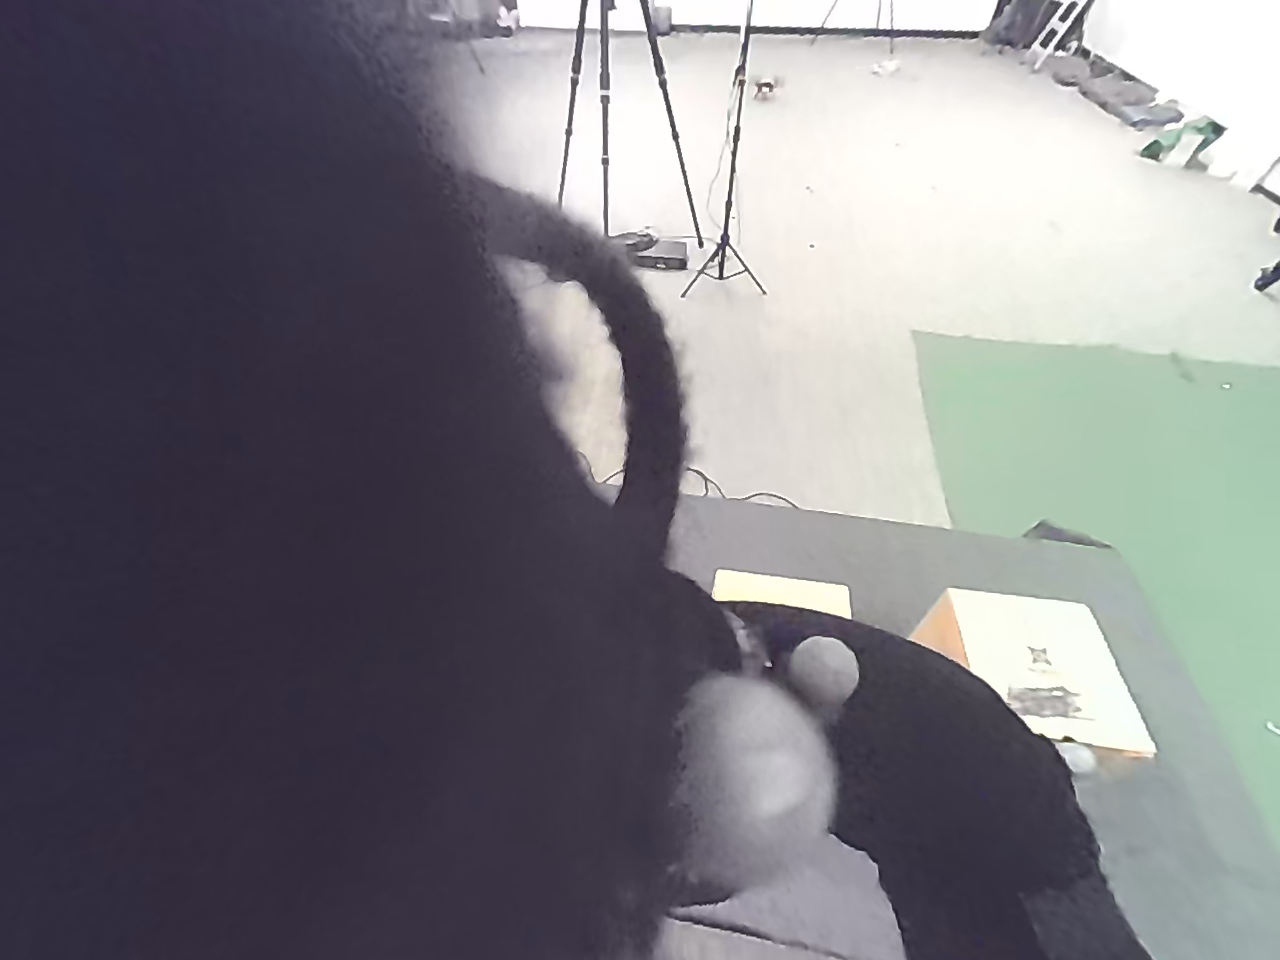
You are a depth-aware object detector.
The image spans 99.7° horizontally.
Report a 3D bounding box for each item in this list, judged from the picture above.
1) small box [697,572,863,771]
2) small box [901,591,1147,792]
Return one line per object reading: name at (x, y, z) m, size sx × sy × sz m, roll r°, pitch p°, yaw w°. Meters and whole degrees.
small box at (0.165, 0.244, 0.688) m, size 0.168 × 0.176 × 0.179 m, roll 7°, pitch 49°, yaw 5°
small box at (0.446, 0.263, 0.668) m, size 0.168 × 0.176 × 0.179 m, roll 6°, pitch 48°, yaw 5°
